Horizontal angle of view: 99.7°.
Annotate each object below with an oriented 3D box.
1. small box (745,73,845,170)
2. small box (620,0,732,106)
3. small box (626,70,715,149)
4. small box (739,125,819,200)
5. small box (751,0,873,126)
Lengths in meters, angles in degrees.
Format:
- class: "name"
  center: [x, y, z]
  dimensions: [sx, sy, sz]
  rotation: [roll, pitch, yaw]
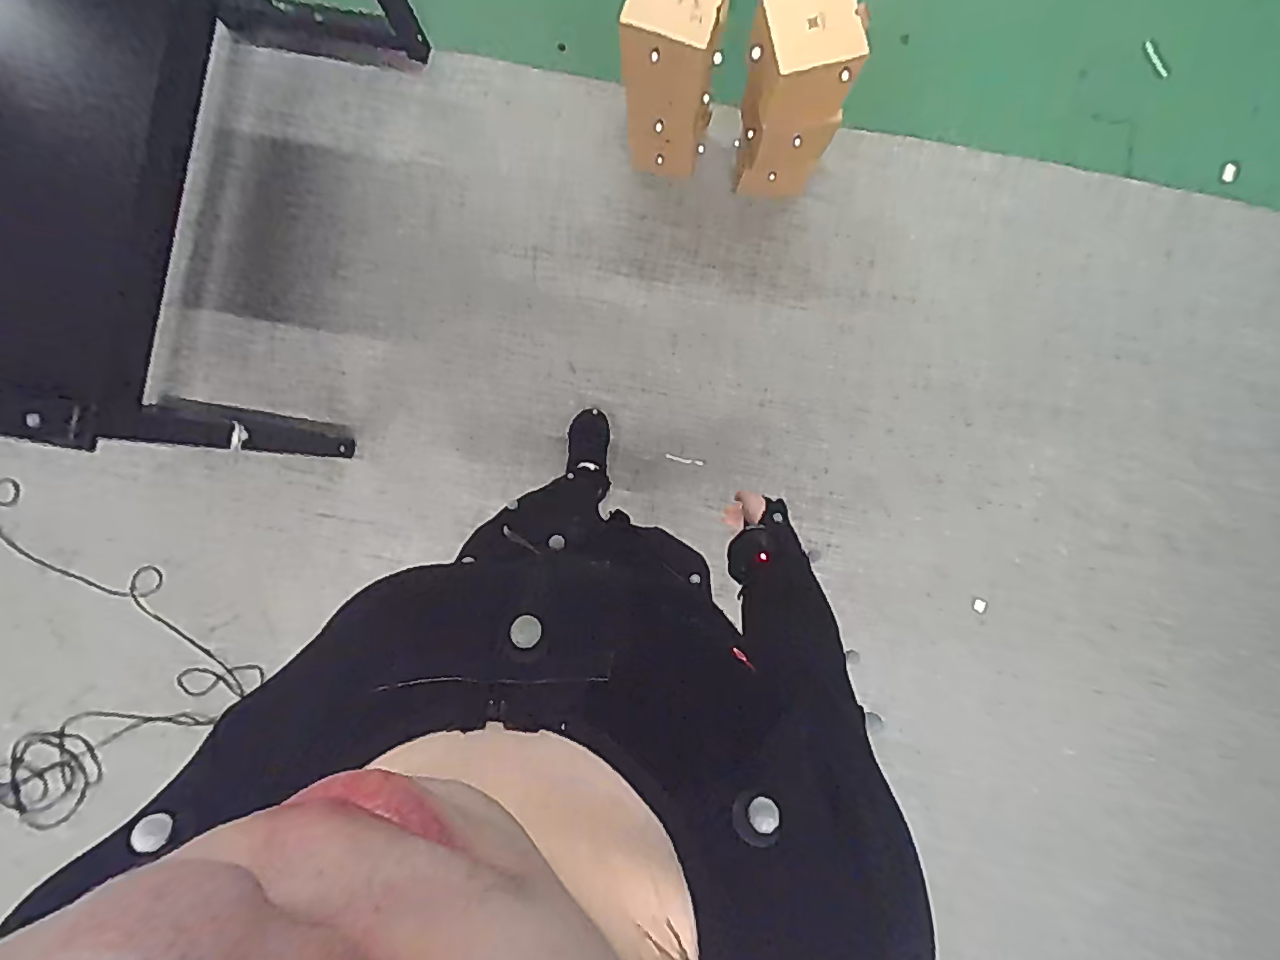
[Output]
- class: "small box"
  center: [0.347, -0.844, 1.243]
  dimensions: [0.179, 0.176, 0.168]
  rotation: [-9, 92, 0]
- class: "small box"
  center: [0.072, -0.896, 1.077]
  dimensions: [0.179, 0.176, 0.168]
  rotation: [20, 90, 1]
- class: "small box"
  center: [0.075, -0.907, 1.244]
  dimensions: [0.168, 0.176, 0.179]
  rotation: [17, 90, 1]
- class: "small box"
  center: [0.358, -0.854, 1.405]
  dimensions: [0.179, 0.176, 0.168]
  rotation: [4, 91, 0]
- class: "small box"
  center: [0.330, -0.850, 1.080]
  dimensions: [0.179, 0.176, 0.168]
  rotation: [-14, 91, 0]
